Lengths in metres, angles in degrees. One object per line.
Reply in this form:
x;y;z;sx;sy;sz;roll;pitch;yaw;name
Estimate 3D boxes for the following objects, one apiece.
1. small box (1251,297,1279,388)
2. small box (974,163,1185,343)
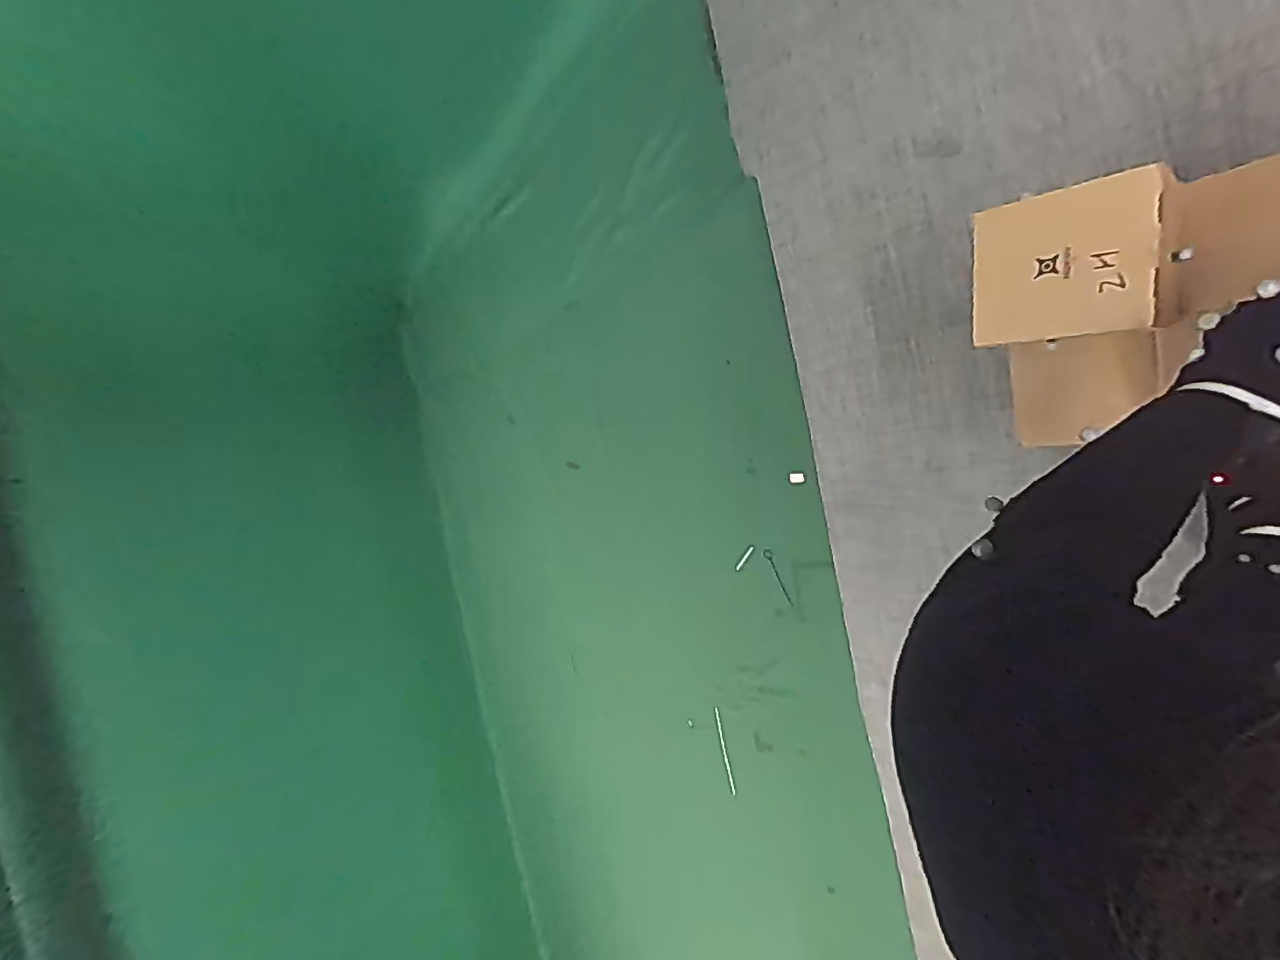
0.685;-0.112;0.456;0.168;0.176;0.179;-26;86;60;small box
0.550;-0.265;0.682;0.179;0.176;0.168;6;104;48;small box
